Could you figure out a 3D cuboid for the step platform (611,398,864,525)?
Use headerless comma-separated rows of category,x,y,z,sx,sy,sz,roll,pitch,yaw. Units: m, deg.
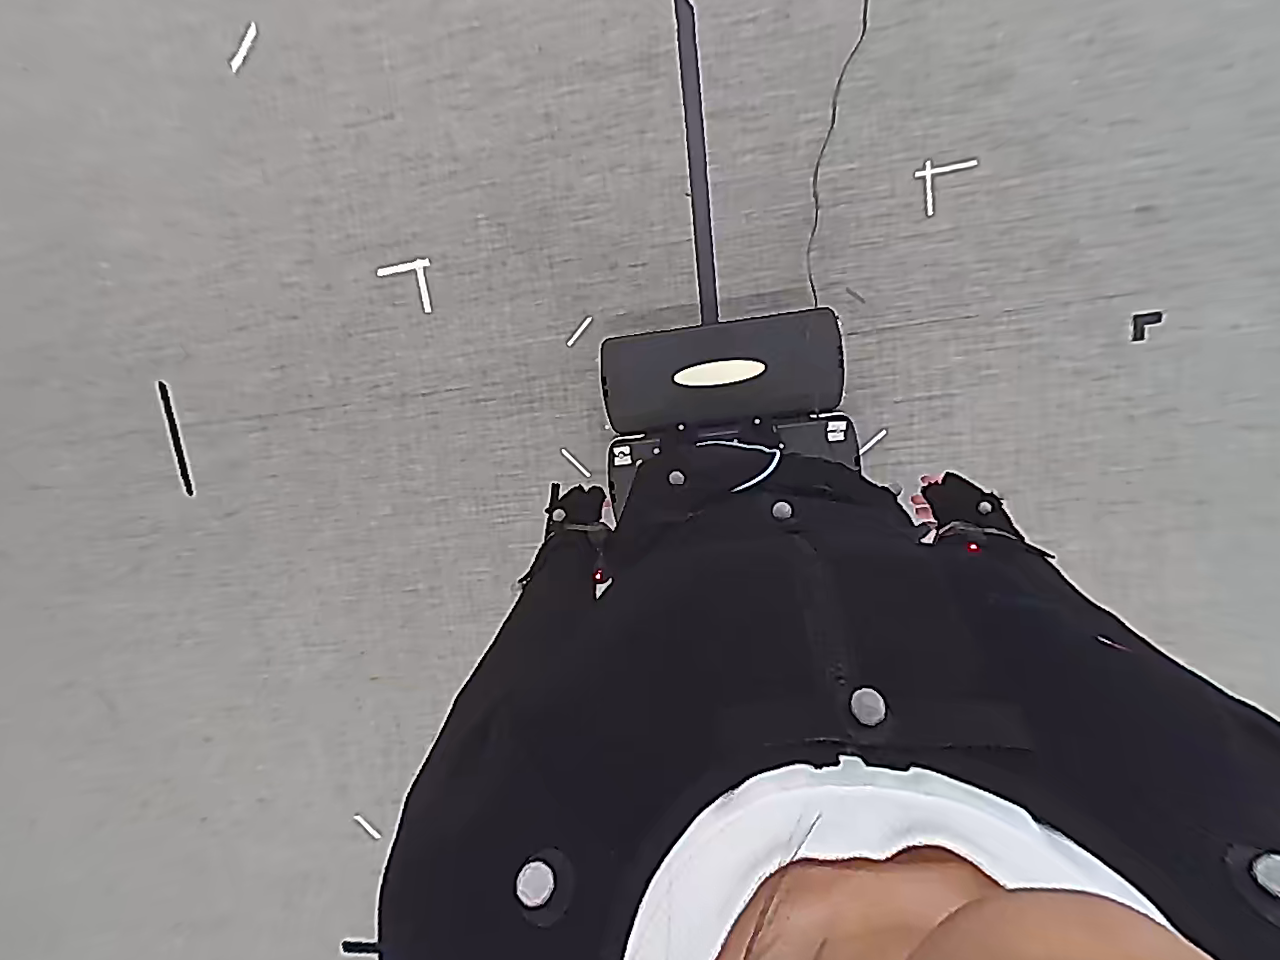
step platform,0.261,-0.050,1.523,0.684,0.204,0.286,-7,97,10
